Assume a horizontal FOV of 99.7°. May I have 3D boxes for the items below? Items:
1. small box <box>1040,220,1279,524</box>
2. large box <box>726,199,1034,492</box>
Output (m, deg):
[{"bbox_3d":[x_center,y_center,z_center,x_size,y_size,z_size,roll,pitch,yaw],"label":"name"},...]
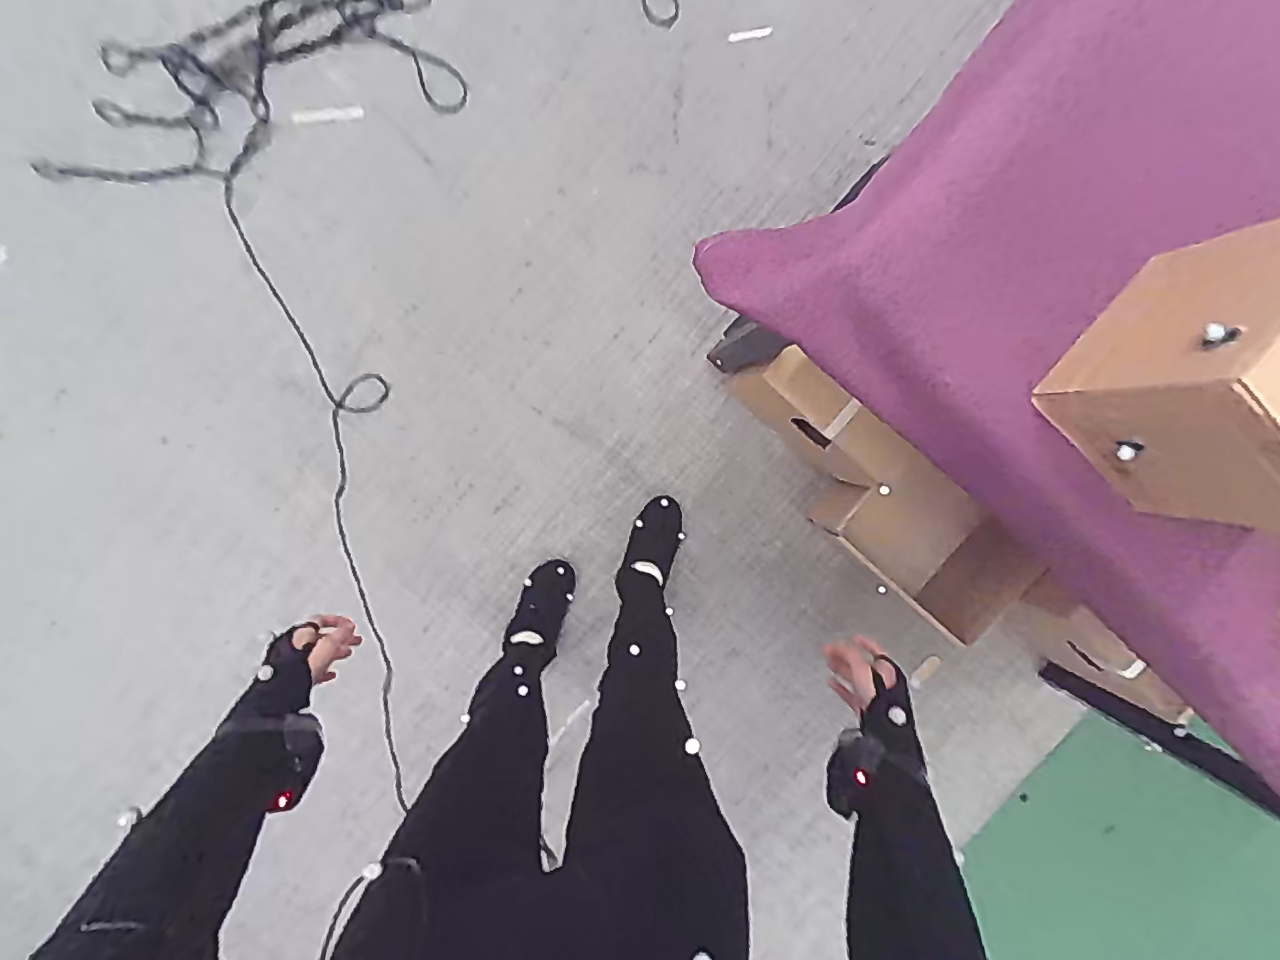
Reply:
[{"bbox_3d":[0.478,-0.086,0.425,0.168,0.176,0.179,40,92,-7],"label":"small box"},{"bbox_3d":[0.437,-0.243,1.073,0.320,0.320,0.408,40,93,-6],"label":"large box"}]
